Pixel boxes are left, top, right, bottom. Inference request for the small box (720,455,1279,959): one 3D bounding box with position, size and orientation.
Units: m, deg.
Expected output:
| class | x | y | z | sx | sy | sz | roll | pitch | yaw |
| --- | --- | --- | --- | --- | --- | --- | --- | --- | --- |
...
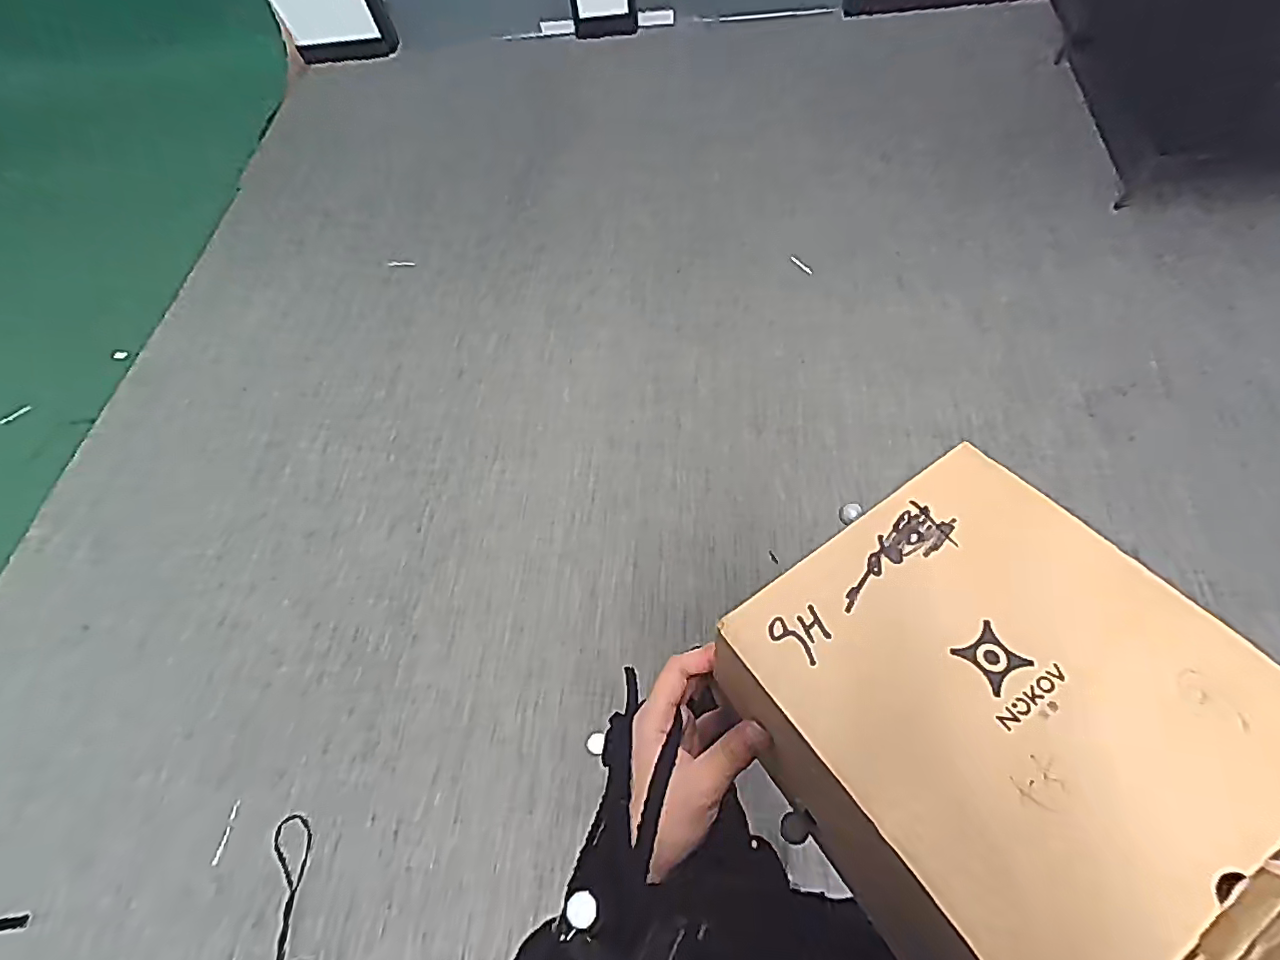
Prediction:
| class | x | y | z | sx | sy | sz | roll | pitch | yaw |
| --- | --- | --- | --- | --- | --- | --- | --- | --- | --- |
| small box | 0.159 | 0.126 | 0.289 | 0.168 | 0.176 | 0.179 | -30 | 59 | -13 |
